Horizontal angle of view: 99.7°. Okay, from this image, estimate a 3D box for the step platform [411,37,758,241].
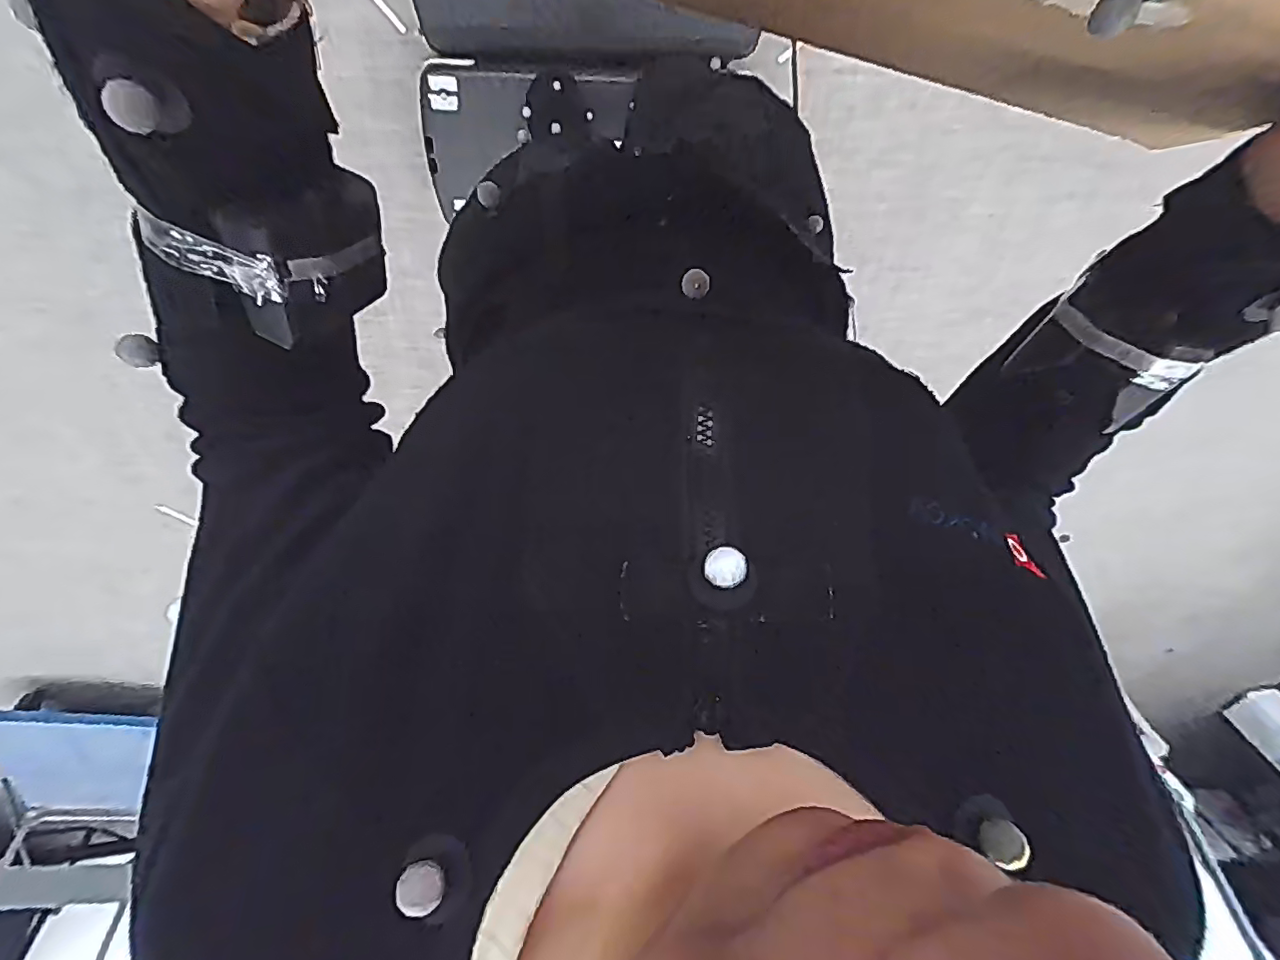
[{"bbox_3d":[-0.106,-0.691,1.126,0.684,0.204,0.286,2,129,-10],"label":"step platform"}]
